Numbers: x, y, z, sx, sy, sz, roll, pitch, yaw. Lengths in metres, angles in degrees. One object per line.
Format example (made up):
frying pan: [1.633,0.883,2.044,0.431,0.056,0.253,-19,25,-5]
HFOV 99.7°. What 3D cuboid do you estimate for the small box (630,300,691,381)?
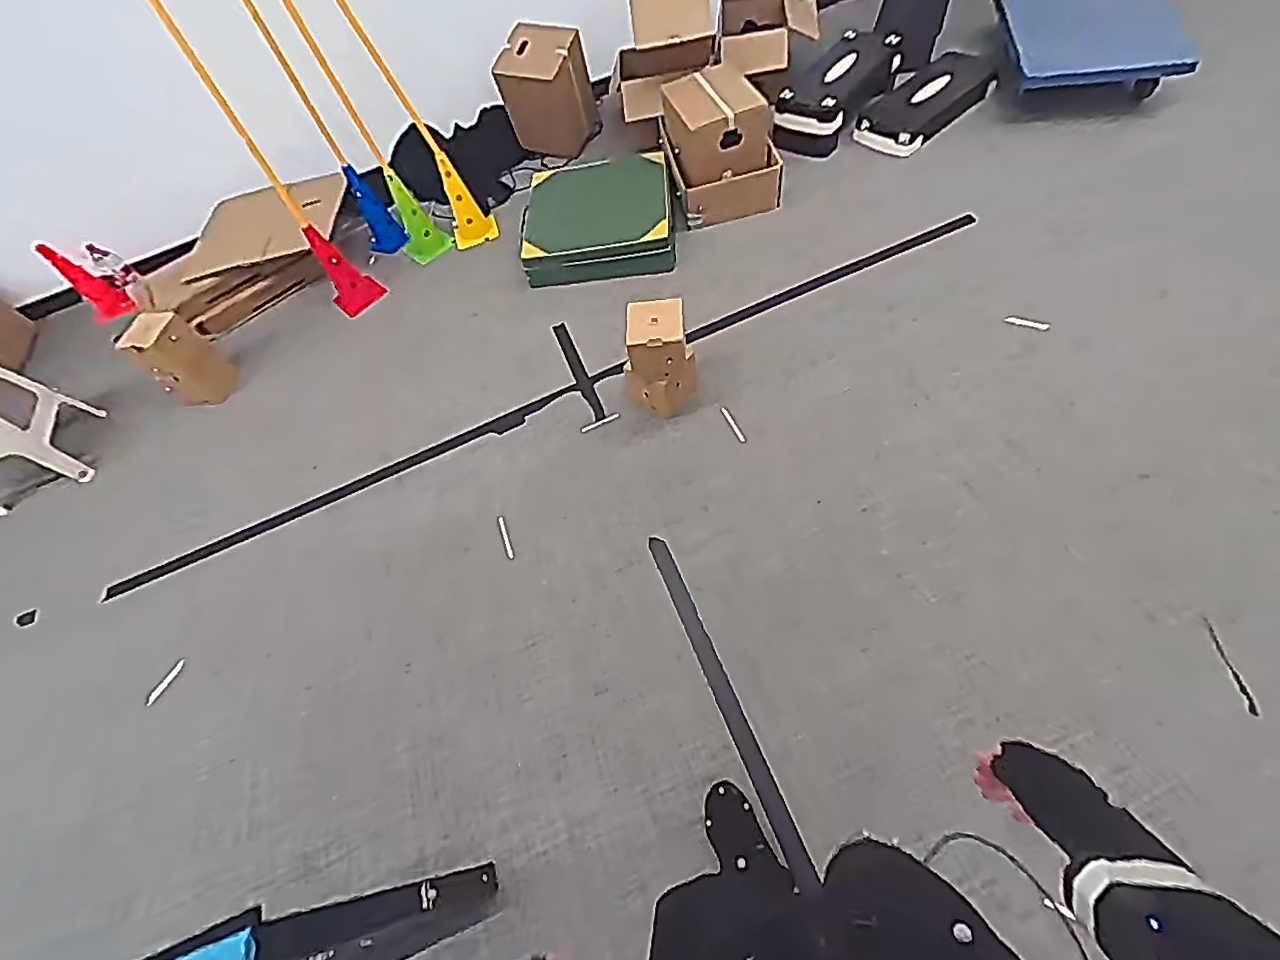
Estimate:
small box: [0.067,-0.416,1.645,0.168,0.176,0.179,-3,59,8]

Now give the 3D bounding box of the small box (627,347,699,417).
small box: [0.085,-0.340,1.792,0.168,0.176,0.179,27,68,25]
